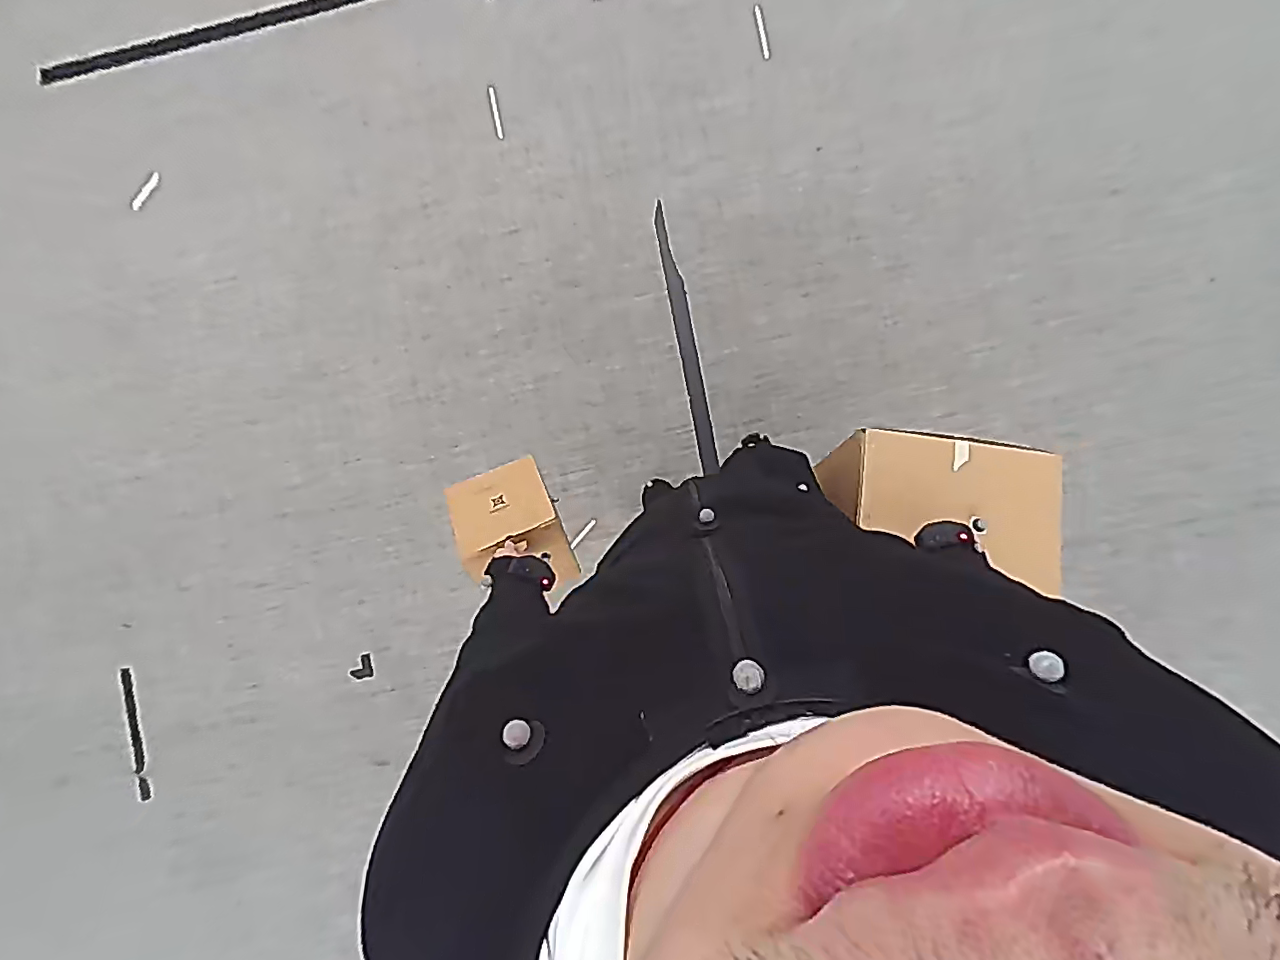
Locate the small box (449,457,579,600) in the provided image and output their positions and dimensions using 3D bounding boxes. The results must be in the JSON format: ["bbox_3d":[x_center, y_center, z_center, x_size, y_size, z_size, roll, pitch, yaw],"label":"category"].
[{"bbox_3d":[-0.225,0.095,0.984,0.168,0.176,0.179,-22,47,-9],"label":"small box"}]
